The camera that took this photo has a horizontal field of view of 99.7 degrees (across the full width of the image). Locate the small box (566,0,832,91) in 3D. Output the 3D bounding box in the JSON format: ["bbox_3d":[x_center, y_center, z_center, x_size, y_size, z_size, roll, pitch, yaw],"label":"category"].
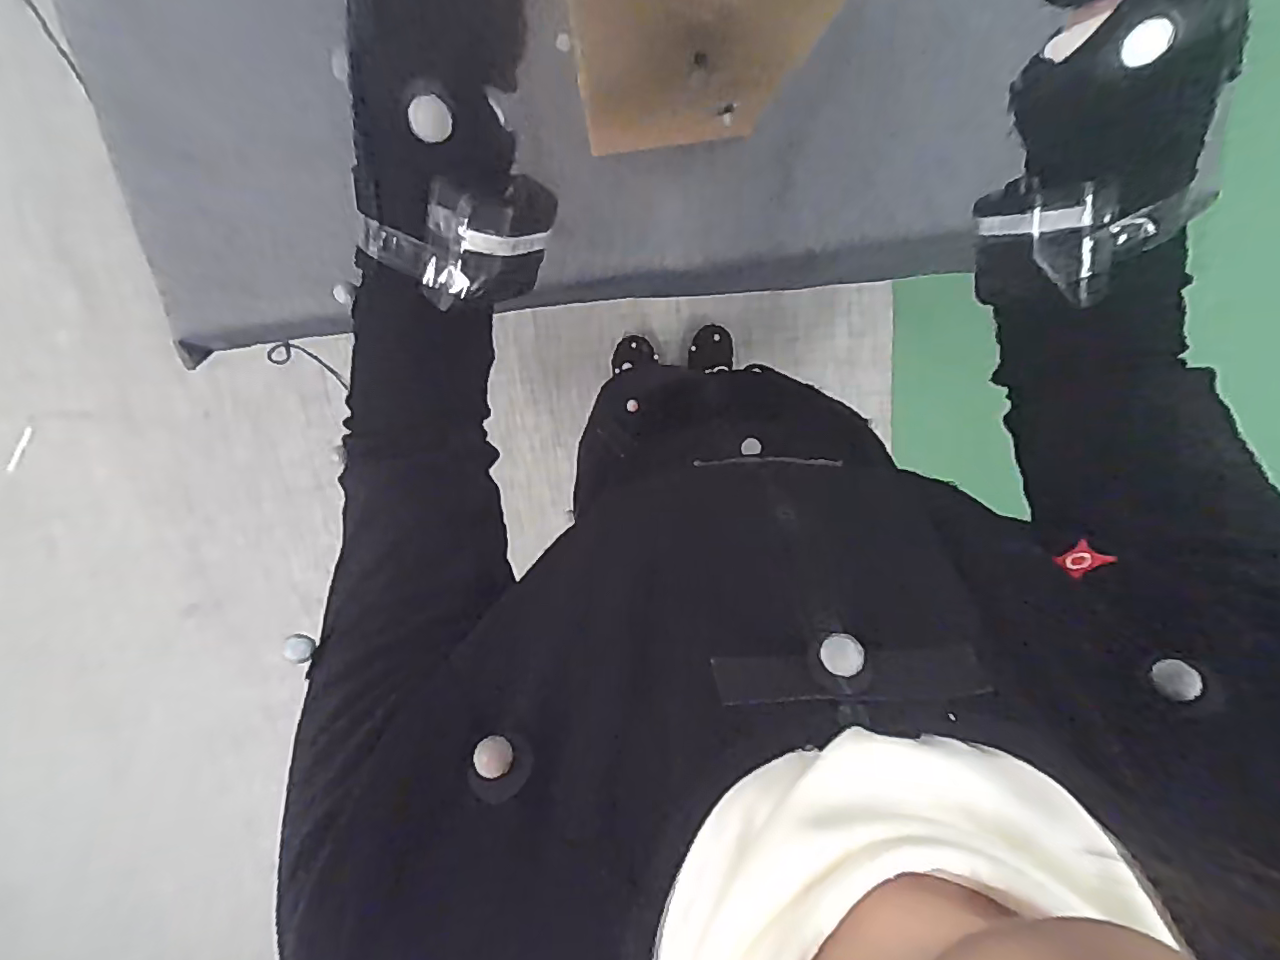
[{"bbox_3d":[0.033,-0.378,0.341,0.179,0.176,0.168,-7,105,-1],"label":"small box"}]

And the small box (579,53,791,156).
[{"bbox_3d":[0.025,-0.424,0.498,0.179,0.176,0.168,-9,105,1],"label":"small box"}]
